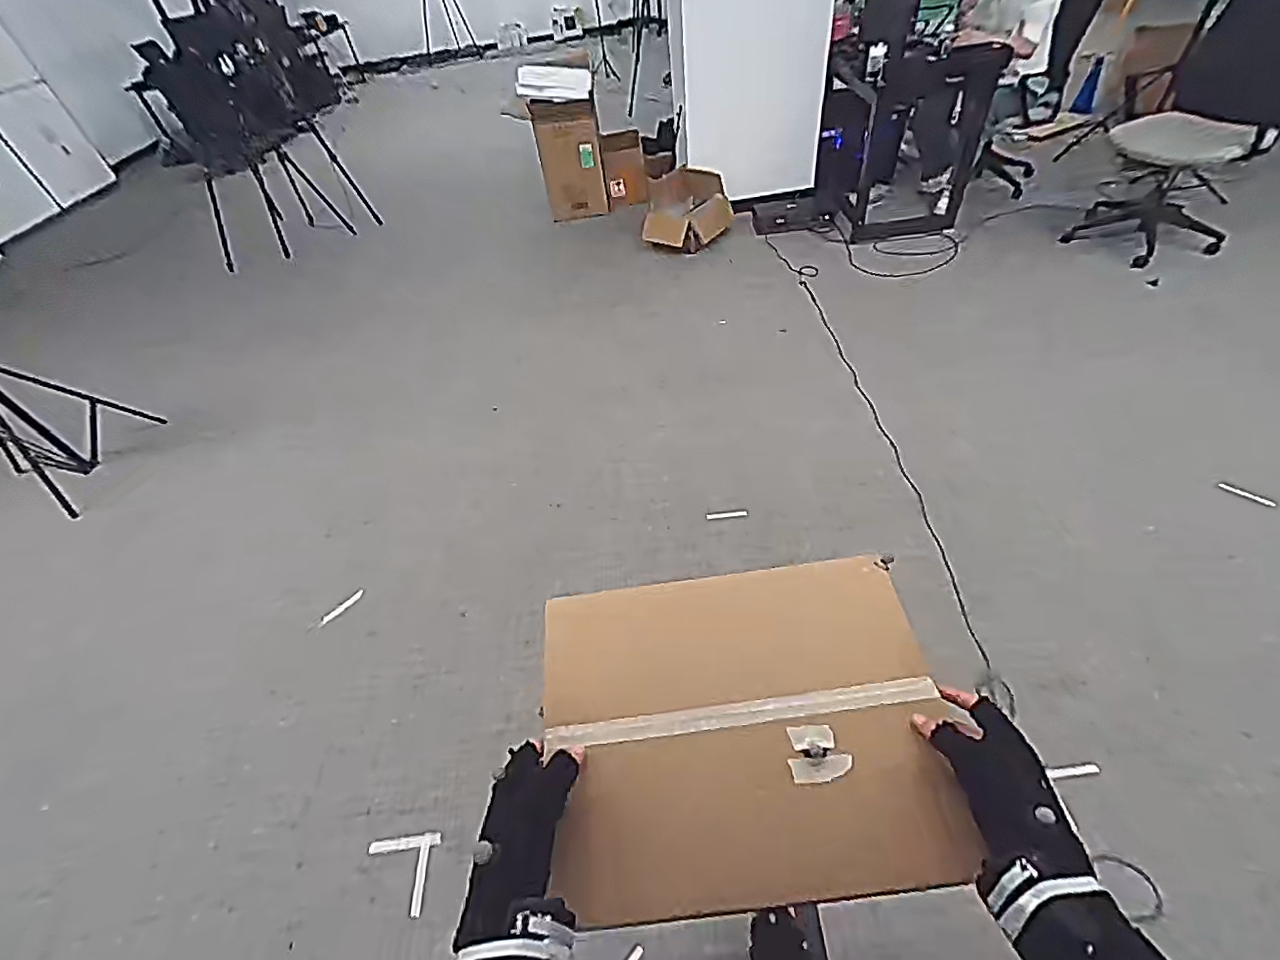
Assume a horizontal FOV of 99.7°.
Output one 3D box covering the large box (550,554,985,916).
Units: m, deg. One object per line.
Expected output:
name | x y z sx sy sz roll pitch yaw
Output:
large box | 0.115 0.331 0.696 0.408 0.320 0.320 -8 54 1
